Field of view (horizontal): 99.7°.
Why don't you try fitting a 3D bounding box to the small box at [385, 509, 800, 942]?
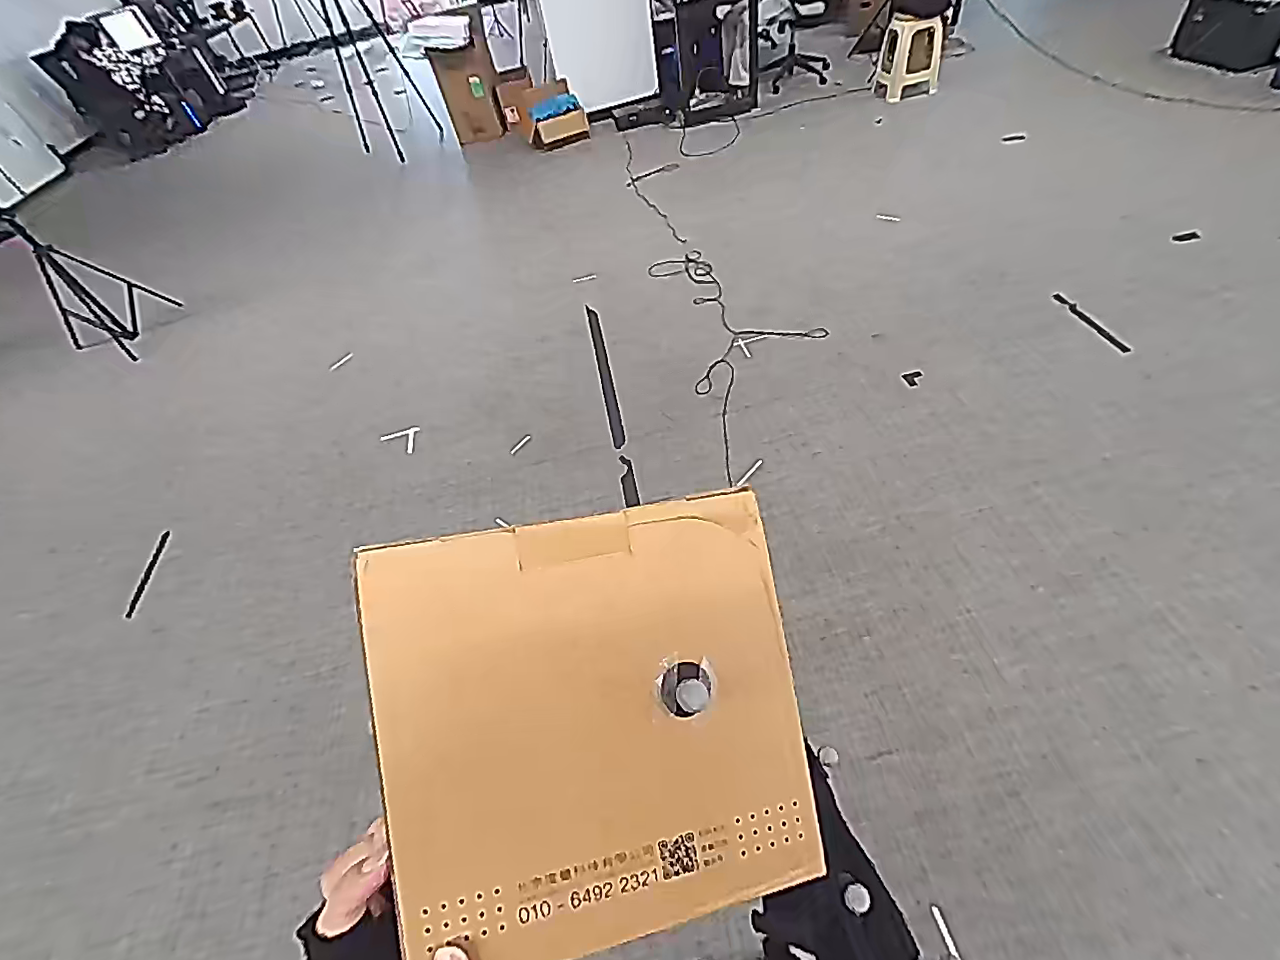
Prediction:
[{"bbox_3d":[-0.028,0.116,0.313,0.168,0.179,0.176,-8,86,-11],"label":"small box"}]
